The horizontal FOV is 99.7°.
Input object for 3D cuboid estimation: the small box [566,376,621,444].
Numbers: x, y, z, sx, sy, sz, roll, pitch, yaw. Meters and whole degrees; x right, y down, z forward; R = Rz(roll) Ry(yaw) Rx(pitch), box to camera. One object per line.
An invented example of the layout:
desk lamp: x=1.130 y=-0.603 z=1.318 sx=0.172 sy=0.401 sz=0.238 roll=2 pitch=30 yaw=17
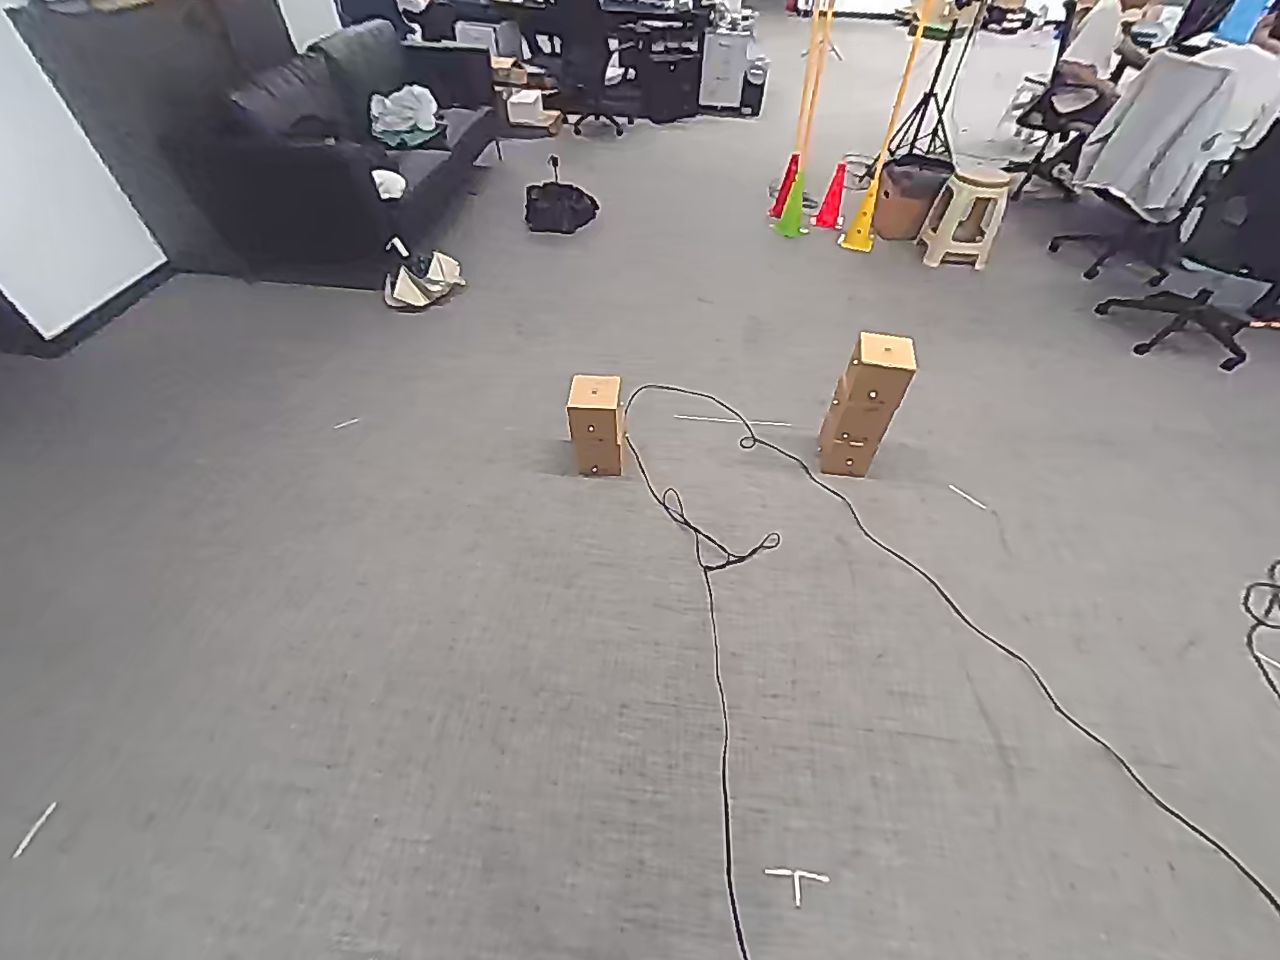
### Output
small box: x=-0.157 y=-0.244 z=1.893 sx=0.168 sy=0.176 sz=0.179 roll=3 pitch=48 yaw=2

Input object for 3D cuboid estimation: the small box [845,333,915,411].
small box: x=0.786 y=-0.356 z=1.788 sx=0.168 sy=0.176 sz=0.179 roll=11 pitch=50 yaw=8

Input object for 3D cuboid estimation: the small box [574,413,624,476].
small box: x=-0.147 y=-0.137 z=2.017 sx=0.168 sy=0.176 sz=0.179 roll=3 pitch=49 yaw=2

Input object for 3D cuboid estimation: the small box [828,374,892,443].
small box: x=0.775 y=-0.250 z=1.911 sx=0.168 sy=0.176 sz=0.179 roll=7 pitch=48 yaw=5

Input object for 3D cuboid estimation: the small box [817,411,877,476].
small box: x=0.770 y=-0.134 z=2.028 sx=0.168 sy=0.176 sz=0.179 roll=6 pitch=49 yaw=5
